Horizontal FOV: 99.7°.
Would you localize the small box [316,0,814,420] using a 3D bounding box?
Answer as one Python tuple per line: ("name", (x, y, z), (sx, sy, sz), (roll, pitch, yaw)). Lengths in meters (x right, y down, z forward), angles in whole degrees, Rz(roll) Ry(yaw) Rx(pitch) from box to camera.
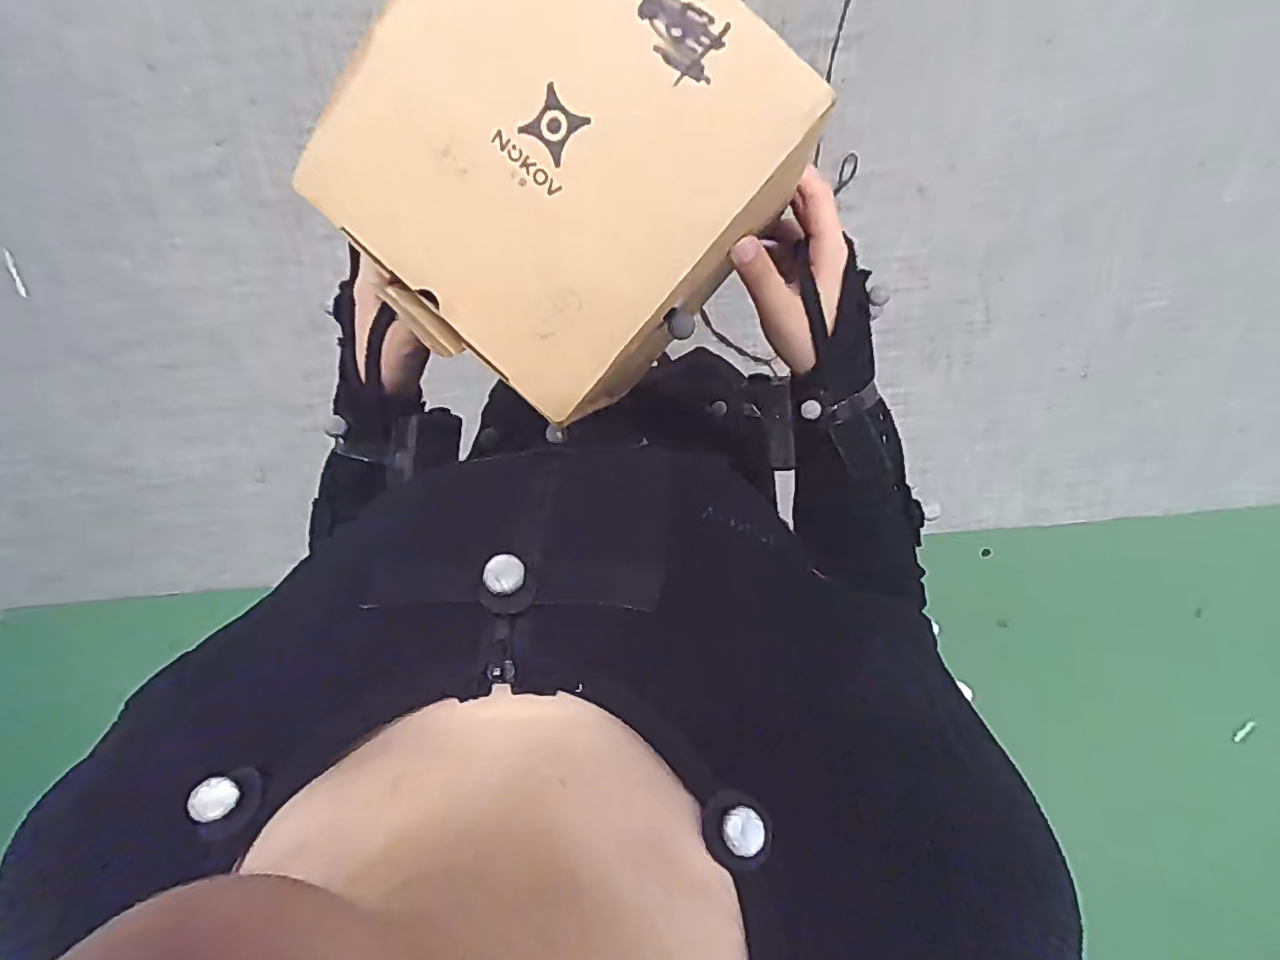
("small box", (-0.029, -0.159, 0.314), (0.168, 0.176, 0.179), (42, 106, -3))
